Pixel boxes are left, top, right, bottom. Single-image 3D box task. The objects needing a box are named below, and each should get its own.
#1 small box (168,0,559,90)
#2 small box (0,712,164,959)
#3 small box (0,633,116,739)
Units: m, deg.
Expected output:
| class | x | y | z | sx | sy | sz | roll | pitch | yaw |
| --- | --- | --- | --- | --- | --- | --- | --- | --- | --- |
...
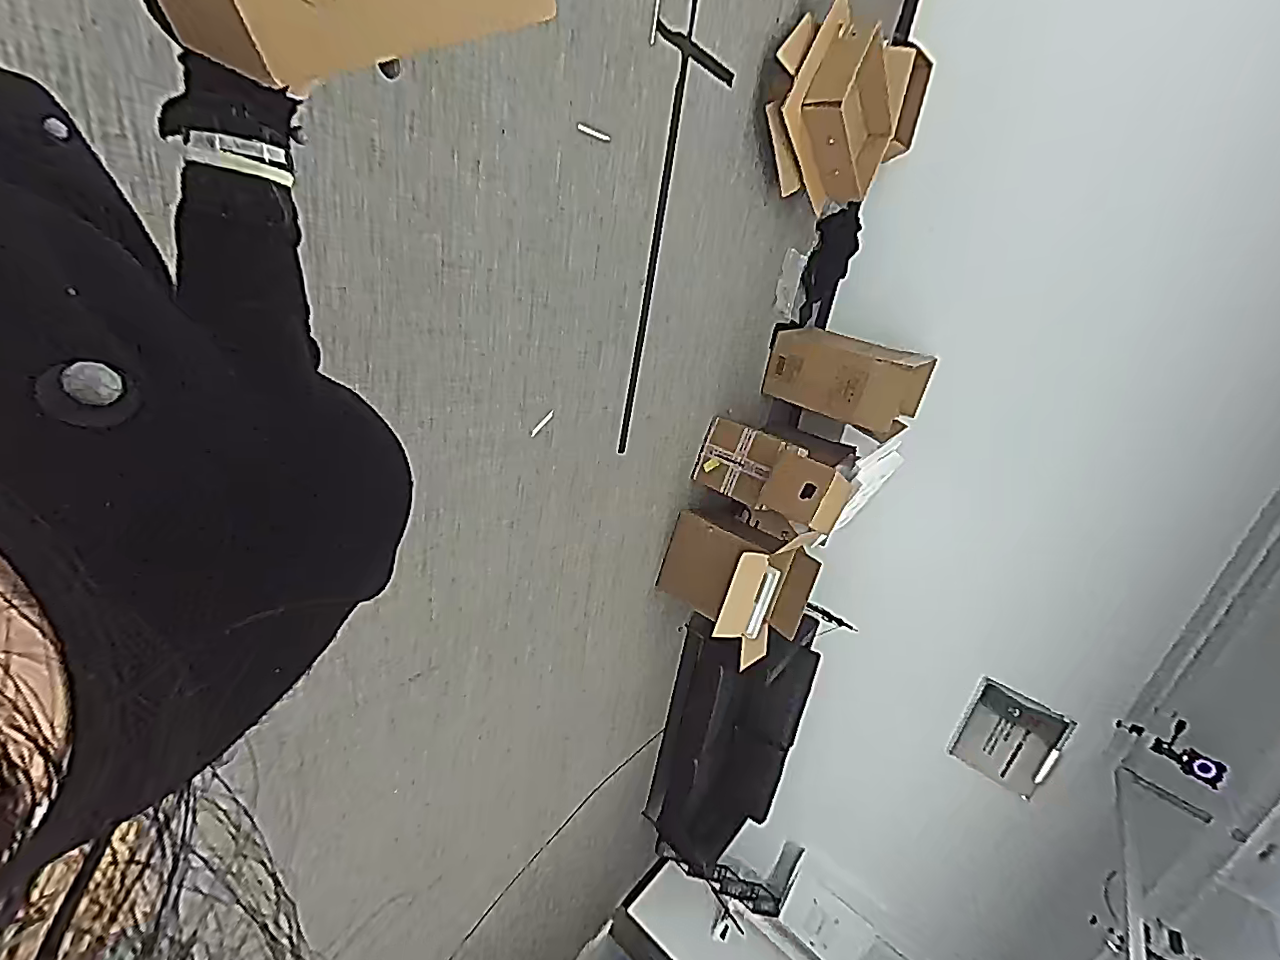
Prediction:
| class | x | y | z | sx | sy | sz | roll | pitch | yaw |
| --- | --- | --- | --- | --- | --- | --- | --- | --- | --- |
| small box | -0.172 | -0.329 | 0.278 | 0.179 | 0.176 | 0.168 | -38 | 148 | -25 |
| small box | -0.619 | 0.369 | 0.549 | 0.168 | 0.176 | 0.179 | -14 | 124 | -49 |
| small box | -0.742 | 0.305 | 0.634 | 0.168 | 0.176 | 0.179 | -14 | 123 | -51 |
